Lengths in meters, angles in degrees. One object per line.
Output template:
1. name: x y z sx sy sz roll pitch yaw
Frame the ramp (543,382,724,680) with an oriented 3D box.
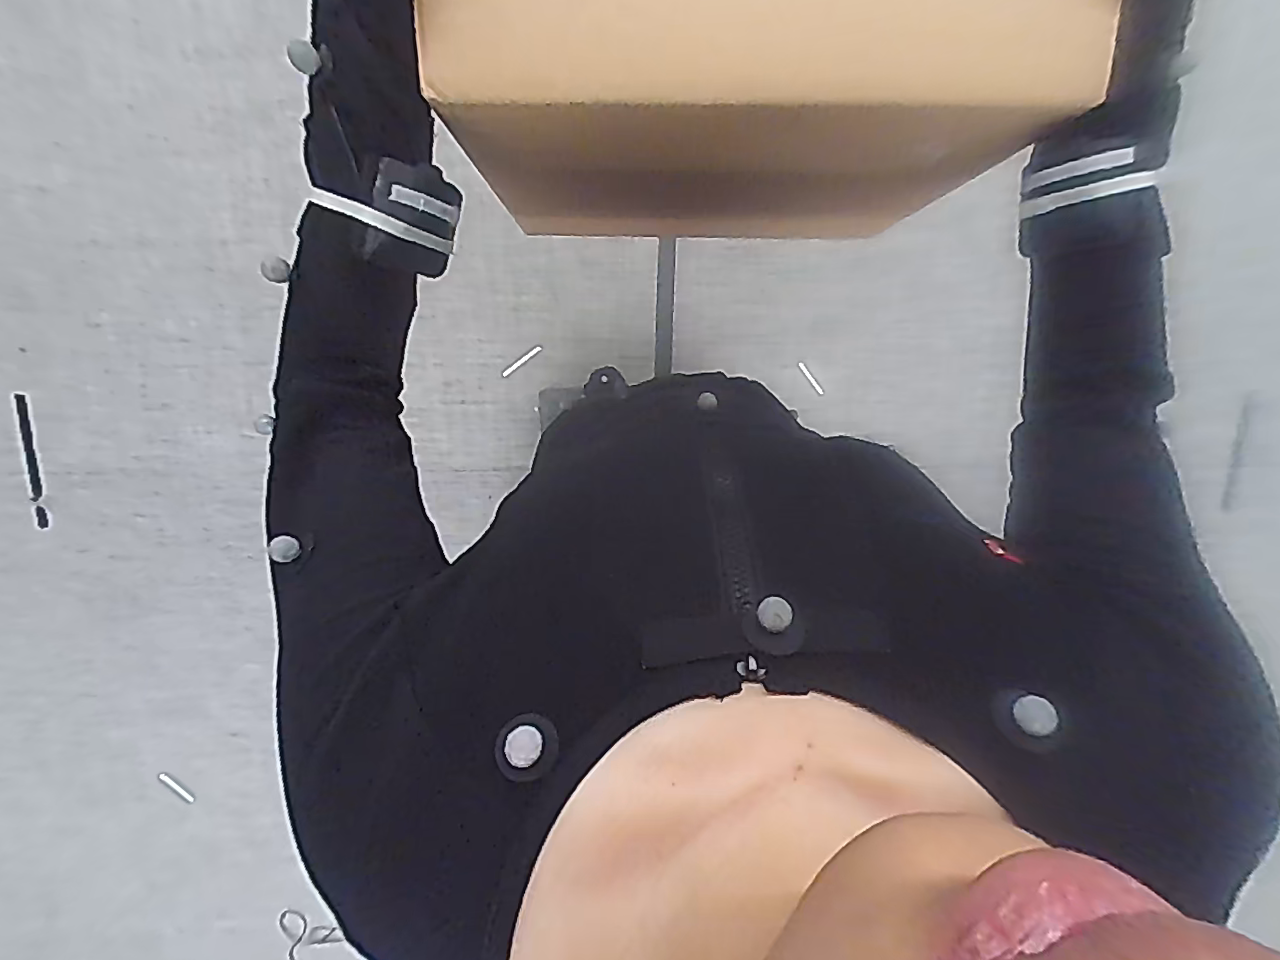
1. ramp: -0.014 0.202 1.628 0.509 0.206 0.991 -2 102 -2

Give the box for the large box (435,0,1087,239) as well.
1. large box: 0.068 -0.409 0.457 0.408 0.320 0.320 -1 101 -1
